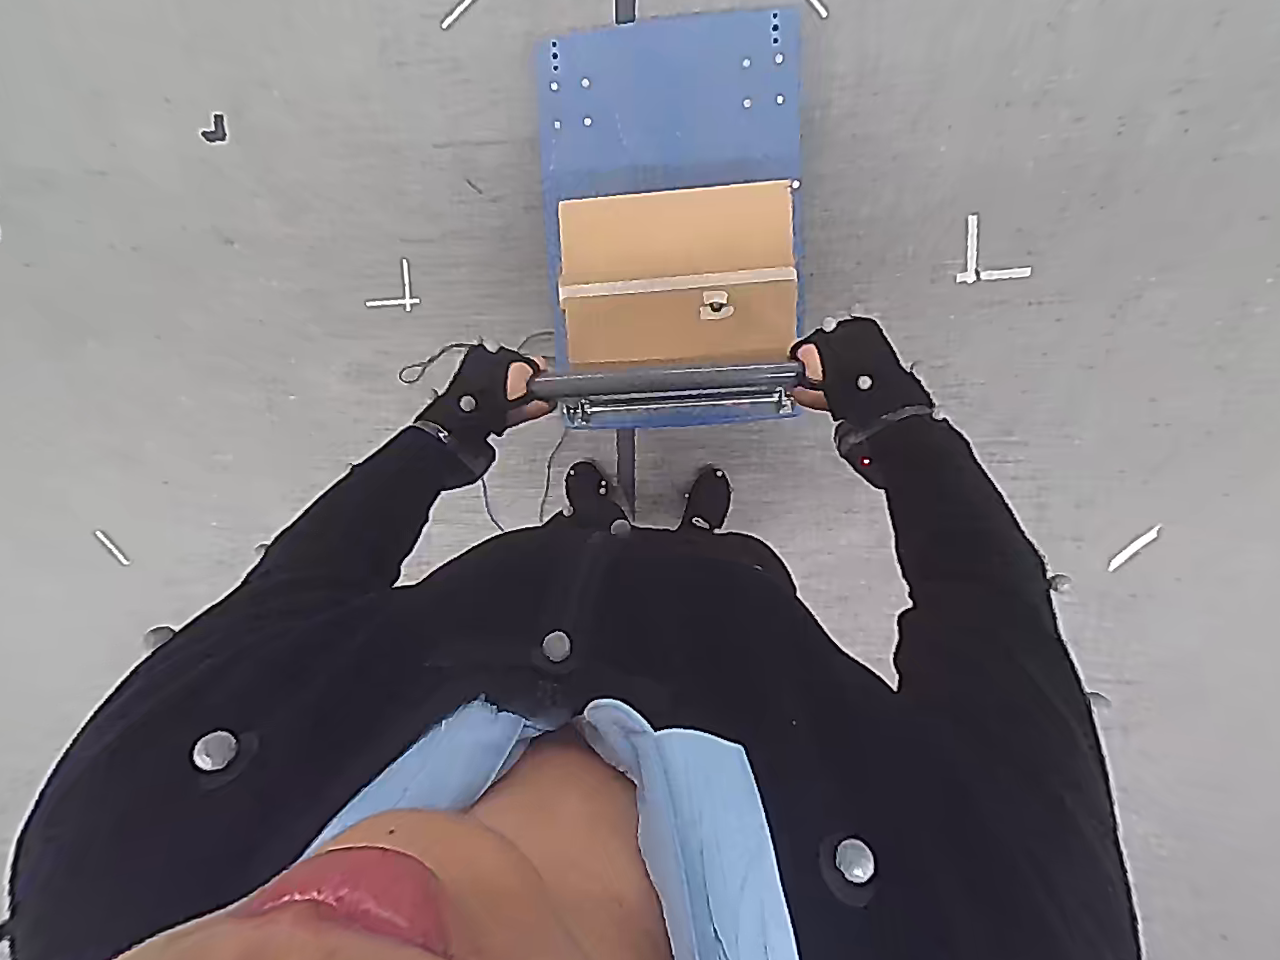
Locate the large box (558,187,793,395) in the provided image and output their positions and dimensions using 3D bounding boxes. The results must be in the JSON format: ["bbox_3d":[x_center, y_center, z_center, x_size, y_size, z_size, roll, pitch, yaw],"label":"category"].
[{"bbox_3d":[0.071,-0.348,1.095,0.408,0.320,0.320,-3,96,4],"label":"large box"}]
